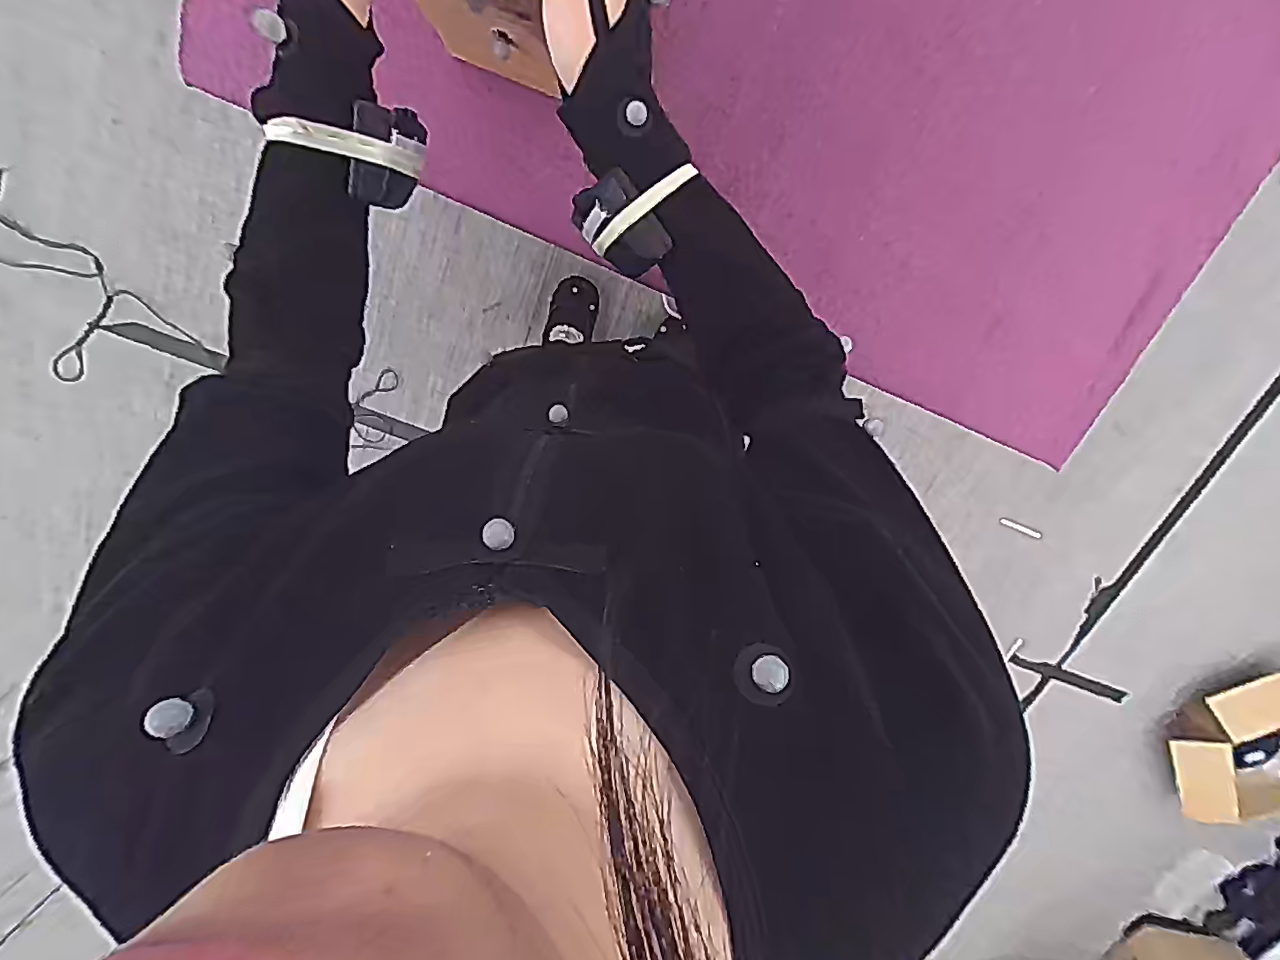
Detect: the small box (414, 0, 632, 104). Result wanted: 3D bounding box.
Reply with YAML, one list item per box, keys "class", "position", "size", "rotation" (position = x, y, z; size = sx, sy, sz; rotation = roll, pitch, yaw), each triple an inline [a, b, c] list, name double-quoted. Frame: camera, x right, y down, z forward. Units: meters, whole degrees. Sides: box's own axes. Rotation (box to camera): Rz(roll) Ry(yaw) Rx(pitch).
- class: "small box"
  position: [-0.092, -0.481, 0.498]
  size: [0.179, 0.176, 0.168]
  rotation: [17, 109, -9]

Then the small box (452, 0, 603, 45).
- class: "small box"
  position: [-0.090, -0.430, 0.341]
  size: [0.168, 0.176, 0.179]
  rotation: [14, 110, -8]
